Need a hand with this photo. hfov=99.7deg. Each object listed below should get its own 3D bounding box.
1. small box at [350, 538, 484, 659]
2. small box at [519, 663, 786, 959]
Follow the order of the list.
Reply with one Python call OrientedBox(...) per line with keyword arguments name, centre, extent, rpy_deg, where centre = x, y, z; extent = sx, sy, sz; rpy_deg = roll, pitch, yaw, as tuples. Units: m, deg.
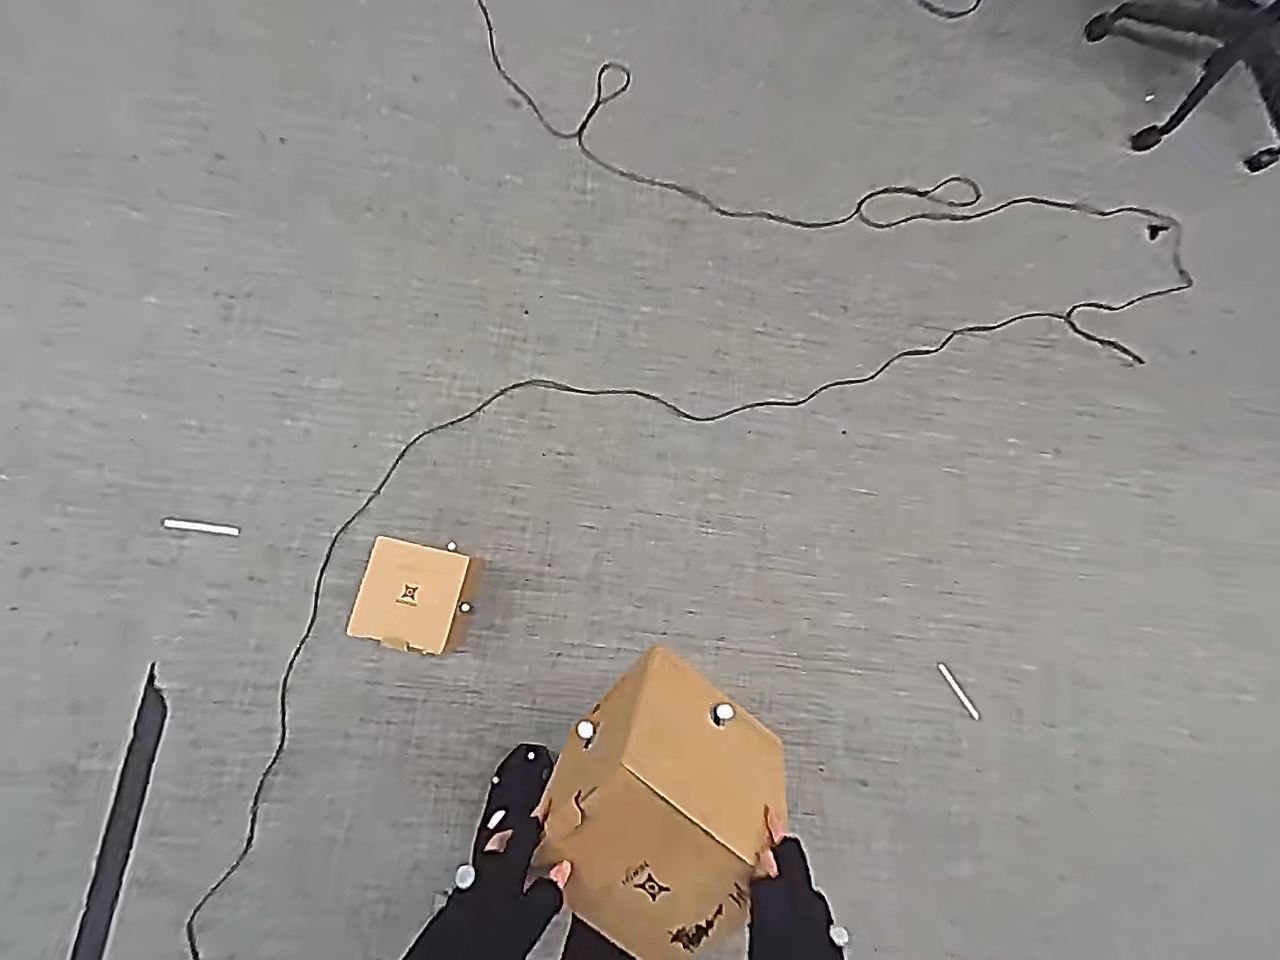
OrientedBox(name="small box", centre=(-0.402, 0.217, 1.011), extent=(0.168, 0.176, 0.179), rpy_deg=(15, 79, -5))
OrientedBox(name="small box", centre=(0.020, 0.311, 0.533), extent=(0.179, 0.176, 0.168), rpy_deg=(39, 111, -1))
